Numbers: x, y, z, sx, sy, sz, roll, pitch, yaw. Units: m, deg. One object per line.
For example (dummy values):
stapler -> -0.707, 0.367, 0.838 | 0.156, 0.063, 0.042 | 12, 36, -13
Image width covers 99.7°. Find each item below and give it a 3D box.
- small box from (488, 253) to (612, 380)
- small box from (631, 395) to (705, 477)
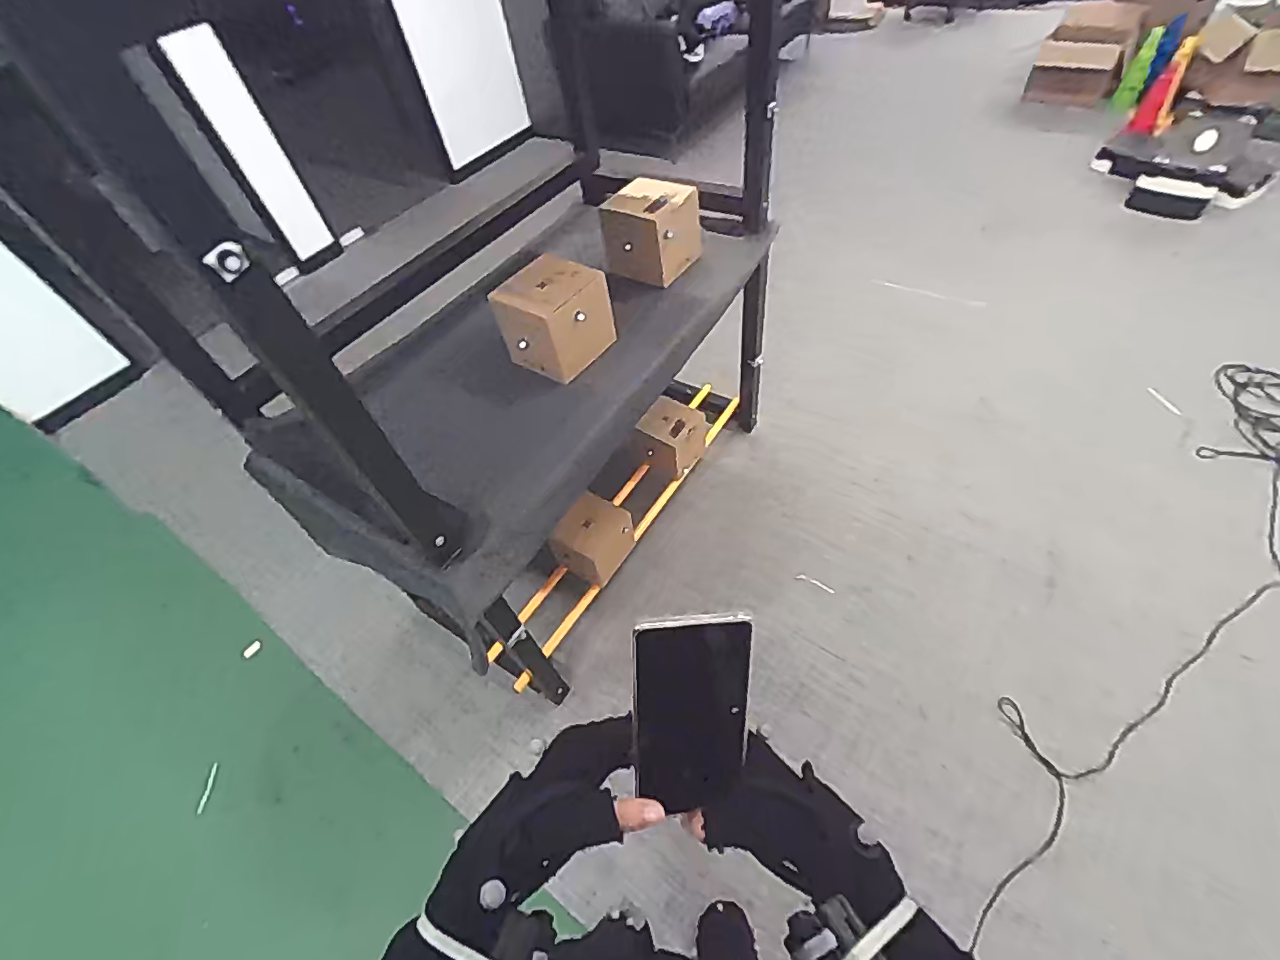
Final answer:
small box -> -0.175, -0.337, 1.124 | 0.168, 0.176, 0.179 | 27, 60, 26
small box -> 0.095, -0.135, 1.723 | 0.179, 0.176, 0.168 | 28, 60, 26
